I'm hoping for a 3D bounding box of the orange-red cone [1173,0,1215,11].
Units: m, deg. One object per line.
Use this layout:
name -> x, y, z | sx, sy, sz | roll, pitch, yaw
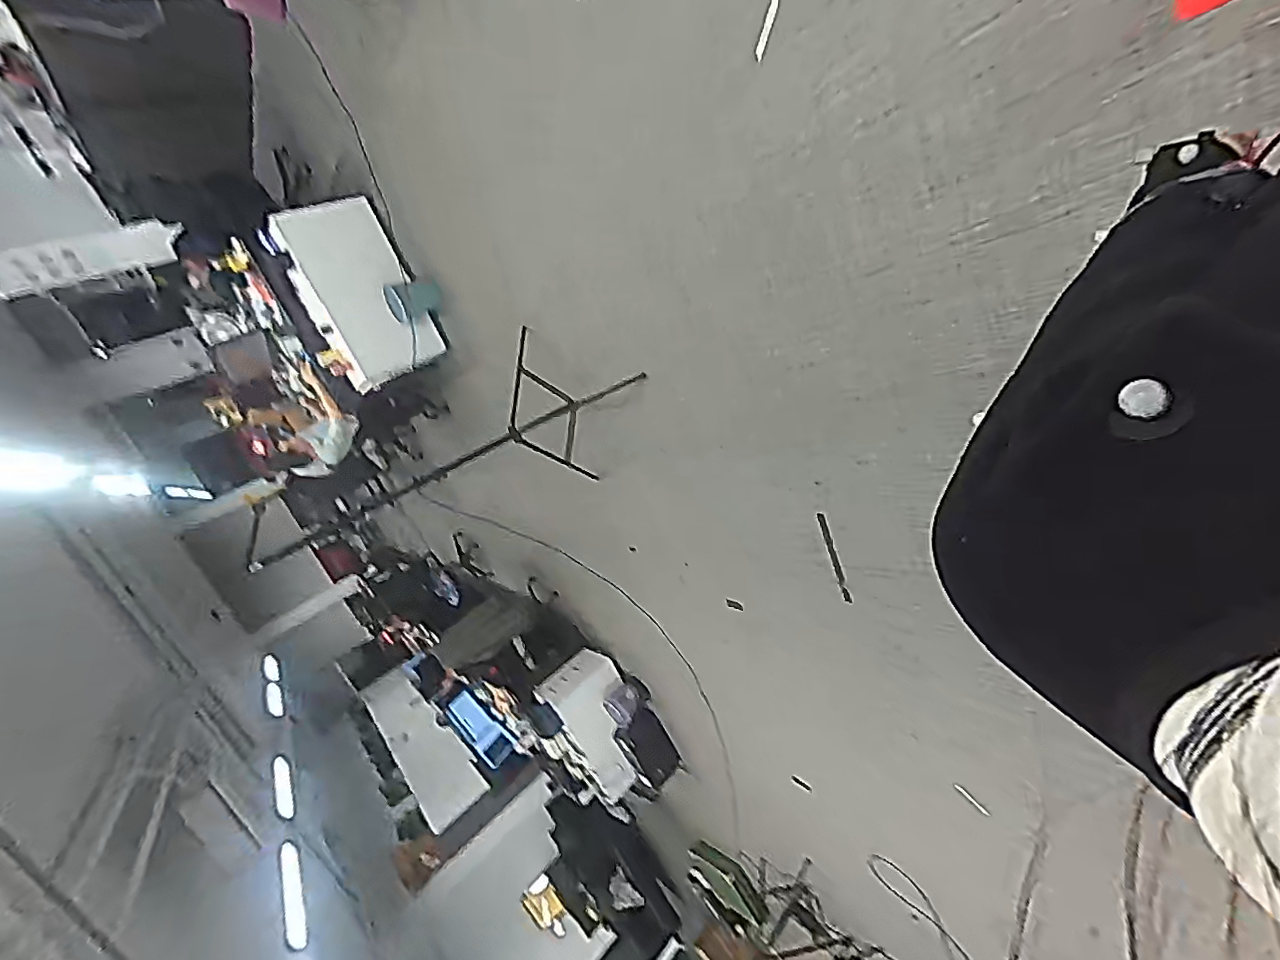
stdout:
orange-red cone -> 0.760, -0.739, 0.669 | 0.198, 0.360, 0.199 | 3, 120, 52
